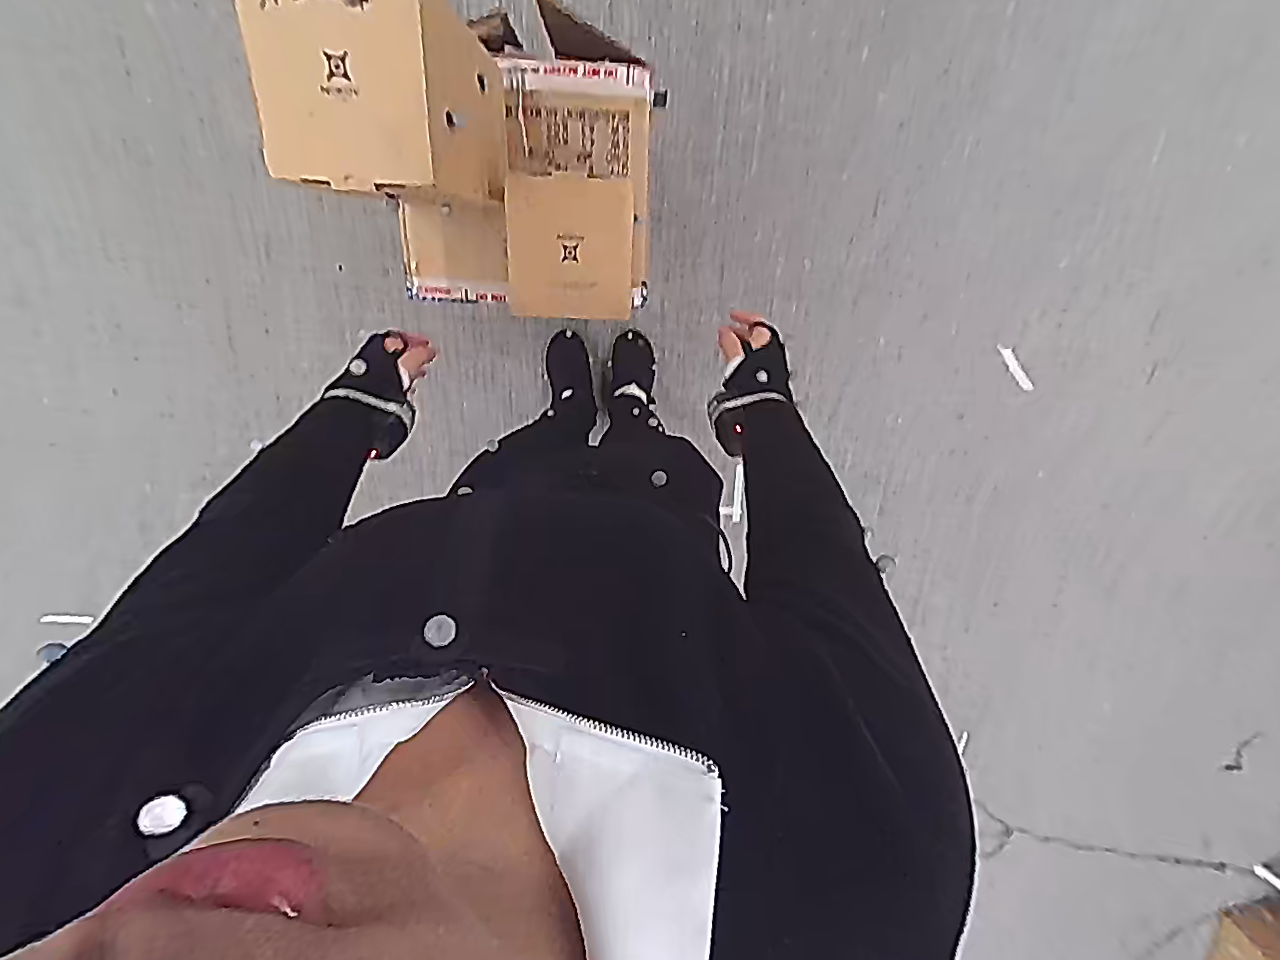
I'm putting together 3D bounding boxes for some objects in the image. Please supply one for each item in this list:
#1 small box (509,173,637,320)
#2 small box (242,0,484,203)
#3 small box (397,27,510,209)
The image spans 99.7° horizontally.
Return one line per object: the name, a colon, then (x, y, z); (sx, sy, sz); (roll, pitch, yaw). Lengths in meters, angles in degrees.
small box: (-0.089, -0.335, 0.787); (0.168, 0.176, 0.179); (2, 113, 0)
small box: (-0.274, -0.401, 0.578); (0.168, 0.176, 0.179); (3, 113, 0)
small box: (-0.276, -0.472, 0.727); (0.168, 0.176, 0.179); (2, 113, 1)
